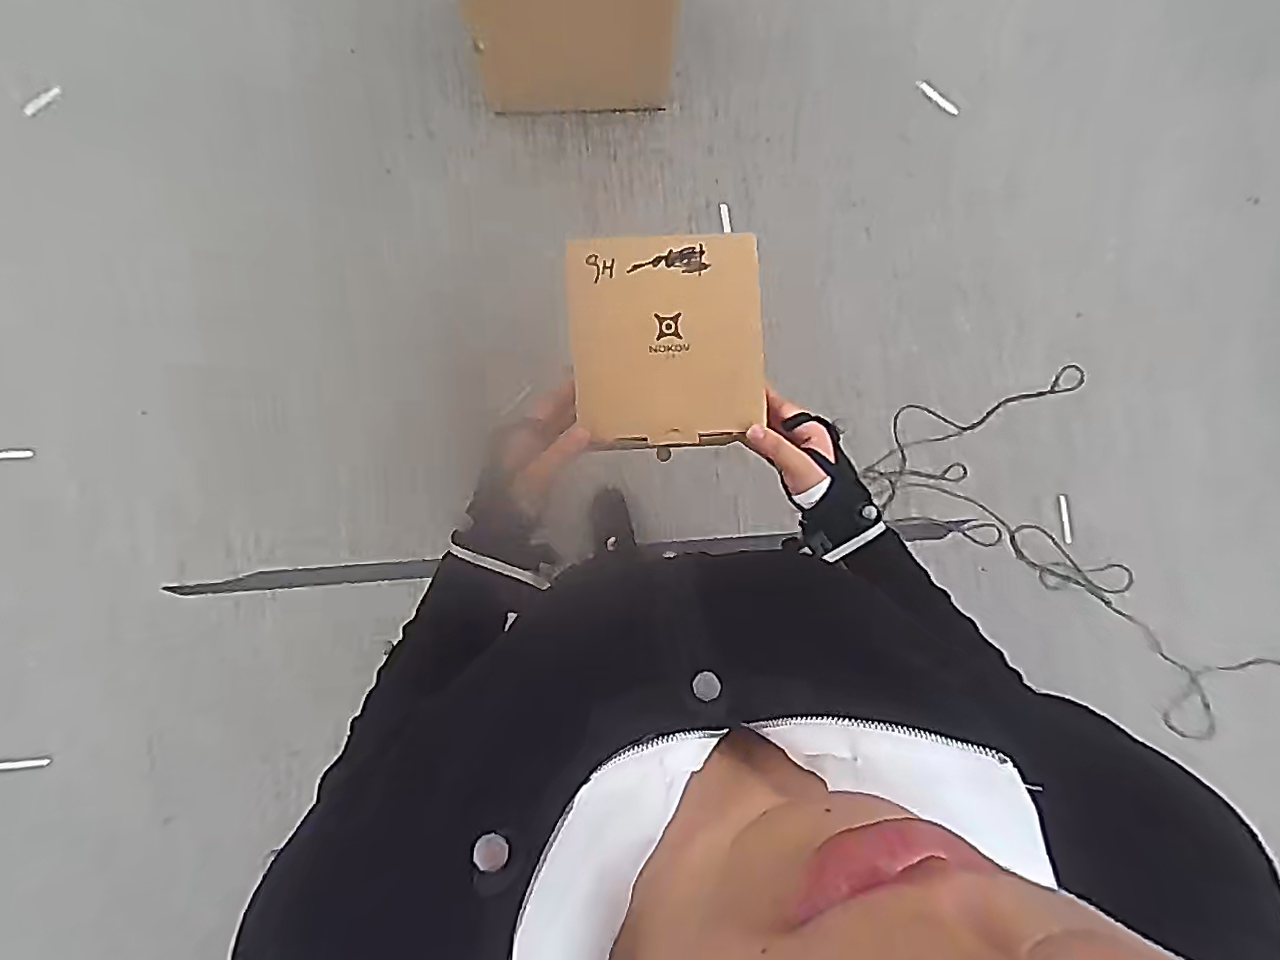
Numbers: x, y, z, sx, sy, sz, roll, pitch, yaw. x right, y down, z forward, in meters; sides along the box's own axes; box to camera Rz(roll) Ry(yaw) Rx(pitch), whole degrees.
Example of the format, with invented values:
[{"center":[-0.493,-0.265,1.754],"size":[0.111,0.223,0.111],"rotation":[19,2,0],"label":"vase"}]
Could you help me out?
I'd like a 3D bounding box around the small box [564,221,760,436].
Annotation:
[{"center":[0.018,-0.135,0.545],"size":[0.168,0.176,0.179],"rotation":[-4,92,-2],"label":"small box"}]
